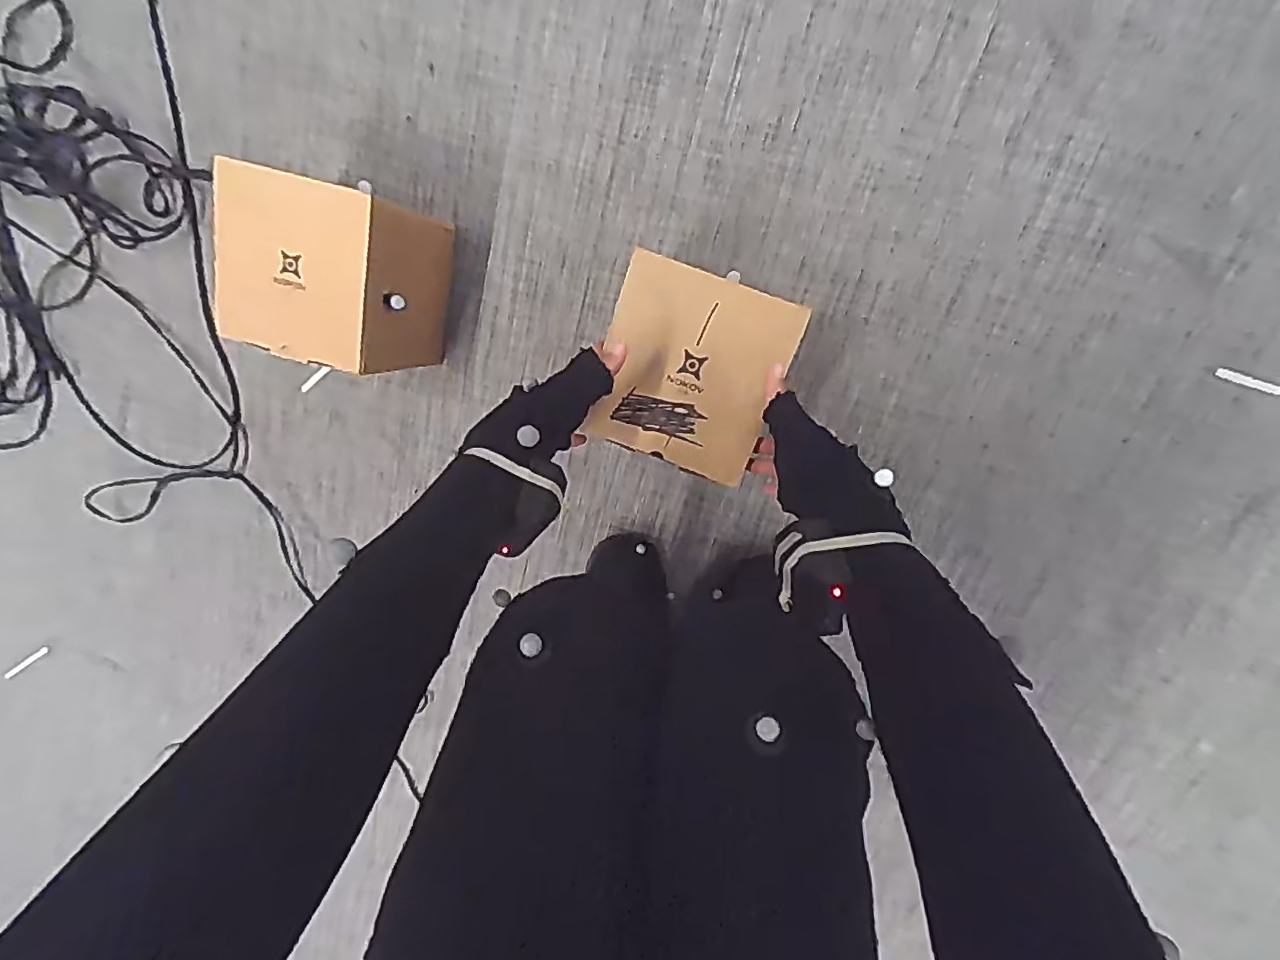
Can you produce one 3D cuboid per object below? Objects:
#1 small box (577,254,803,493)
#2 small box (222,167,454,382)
[{"bbox_3d":[0.053,-0.114,0.570,0.168,0.176,0.179,21,108,3],"label":"small box"},{"bbox_3d":[-0.332,-0.226,0.620,0.168,0.176,0.179,16,109,5],"label":"small box"}]
